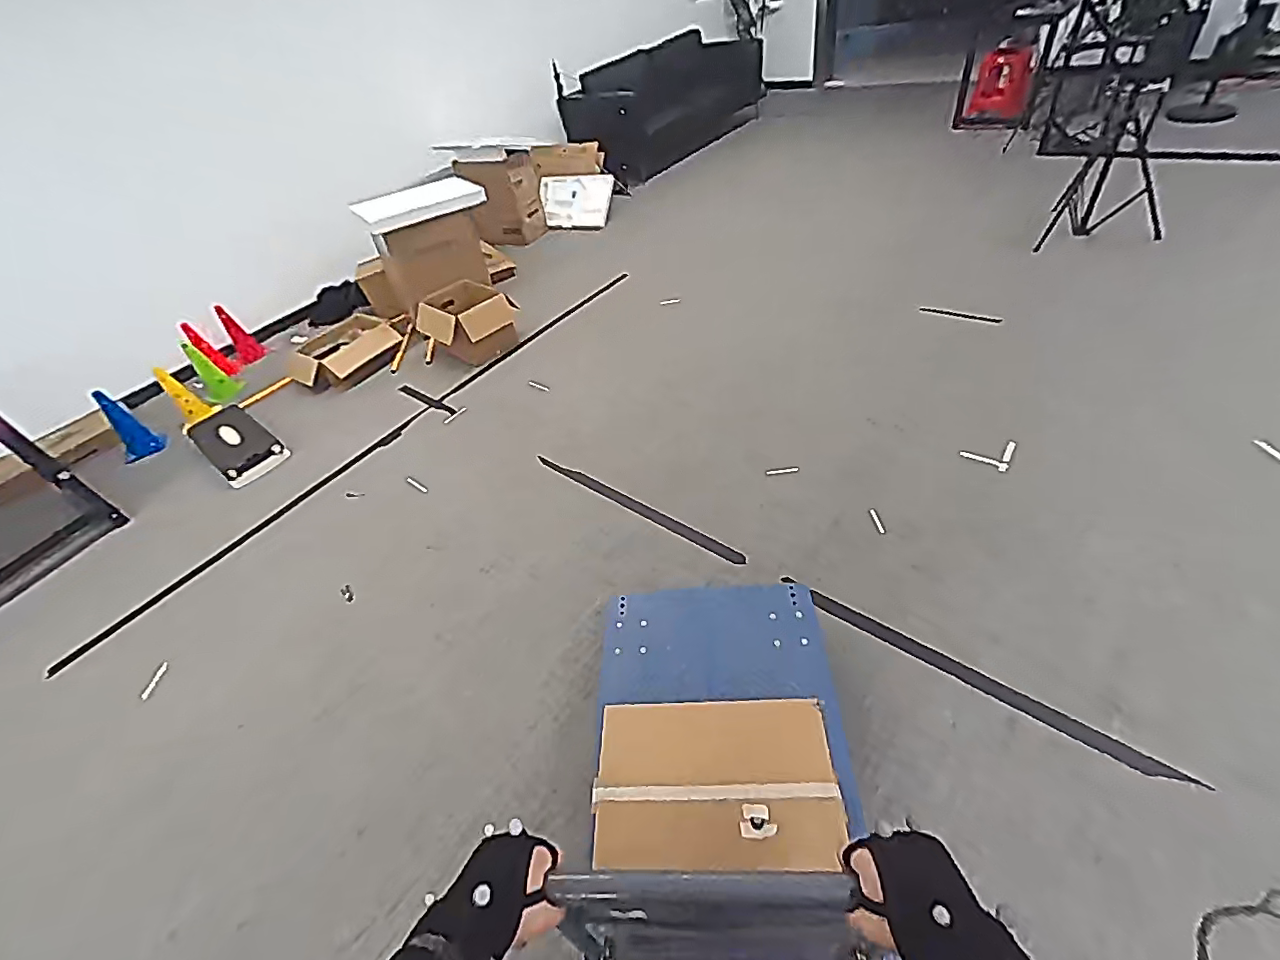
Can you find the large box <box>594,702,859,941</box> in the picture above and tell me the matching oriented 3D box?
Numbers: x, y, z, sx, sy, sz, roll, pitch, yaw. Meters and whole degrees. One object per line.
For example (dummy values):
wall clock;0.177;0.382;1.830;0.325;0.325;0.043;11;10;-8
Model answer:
large box;0.144;0.640;1.011;0.408;0.320;0.320;-5;44;6
